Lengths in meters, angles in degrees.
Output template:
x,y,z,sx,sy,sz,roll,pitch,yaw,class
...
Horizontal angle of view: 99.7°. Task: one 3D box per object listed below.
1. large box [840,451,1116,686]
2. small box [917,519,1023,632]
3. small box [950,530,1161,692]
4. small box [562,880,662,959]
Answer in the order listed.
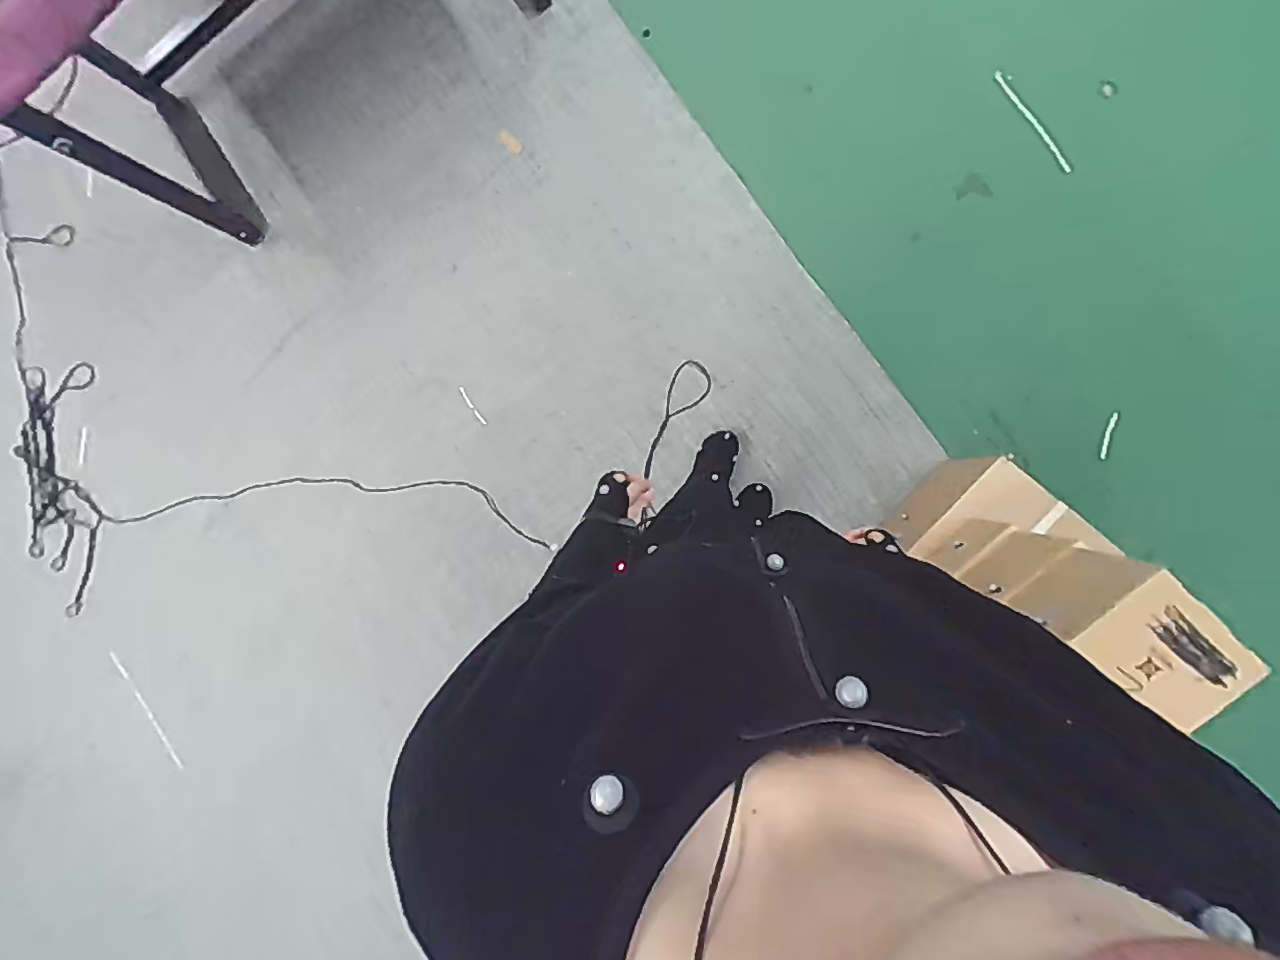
x,y,z,sx,sy,sz,roll,pitch,yaw,class
0.751,0.189,1.278,0.320,0.320,0.408,42,95,5,large box
0.676,0.190,1.041,0.168,0.176,0.179,-43,84,7,small box
0.654,0.198,0.880,0.179,0.176,0.168,-42,85,7,small box
-0.055,0.997,1.155,0.179,0.176,0.168,-4,91,9,small box
